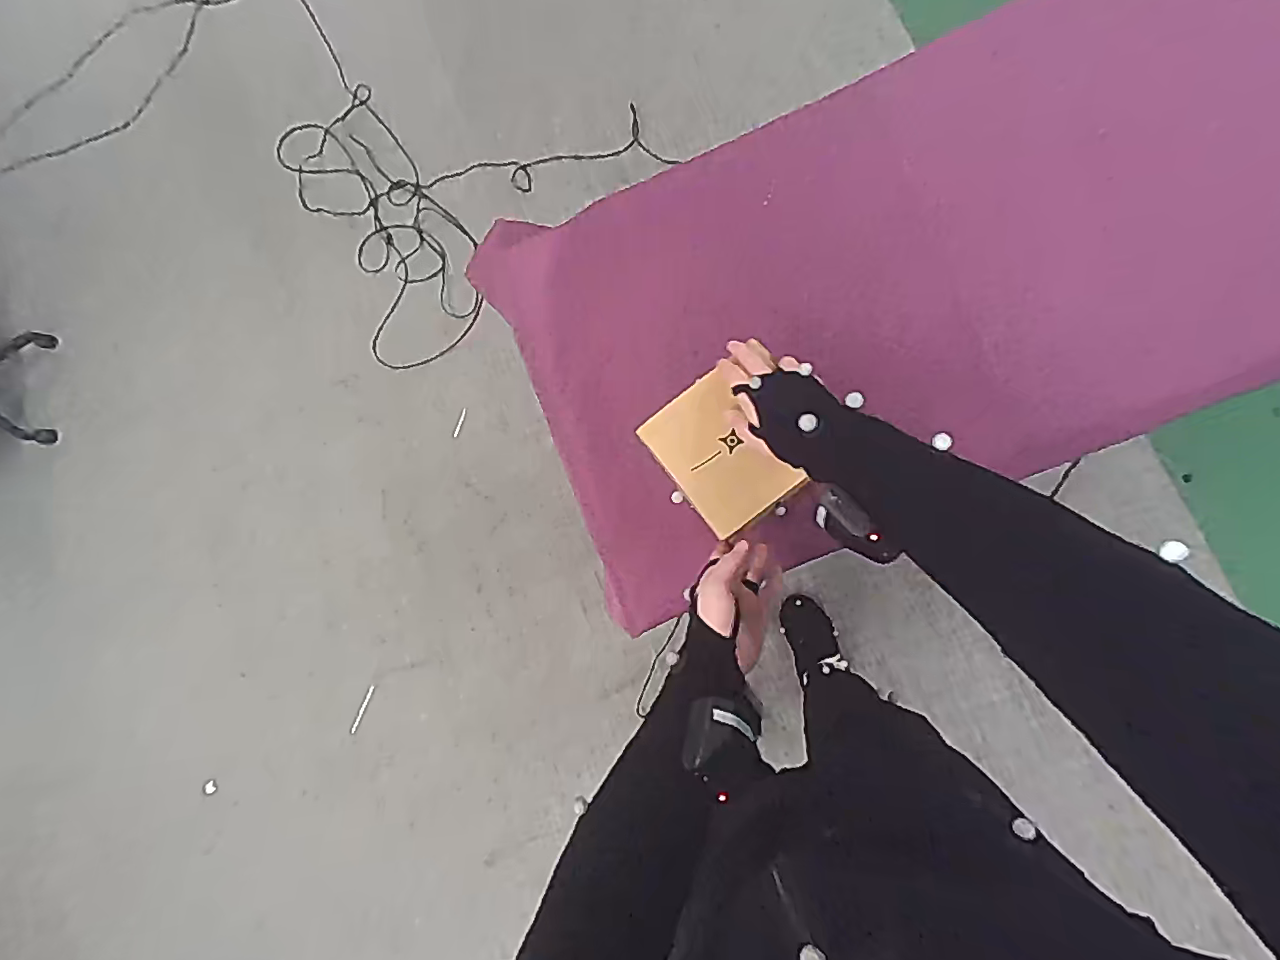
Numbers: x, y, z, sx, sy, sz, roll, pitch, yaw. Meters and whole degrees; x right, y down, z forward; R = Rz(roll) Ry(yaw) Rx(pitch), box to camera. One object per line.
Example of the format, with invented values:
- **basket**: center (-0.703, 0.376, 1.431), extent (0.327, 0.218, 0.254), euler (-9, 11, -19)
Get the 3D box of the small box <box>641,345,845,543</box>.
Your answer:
- **small box**: center (0.126, -0.034, 0.689), extent (0.179, 0.176, 0.168), euler (-34, 76, 4)
